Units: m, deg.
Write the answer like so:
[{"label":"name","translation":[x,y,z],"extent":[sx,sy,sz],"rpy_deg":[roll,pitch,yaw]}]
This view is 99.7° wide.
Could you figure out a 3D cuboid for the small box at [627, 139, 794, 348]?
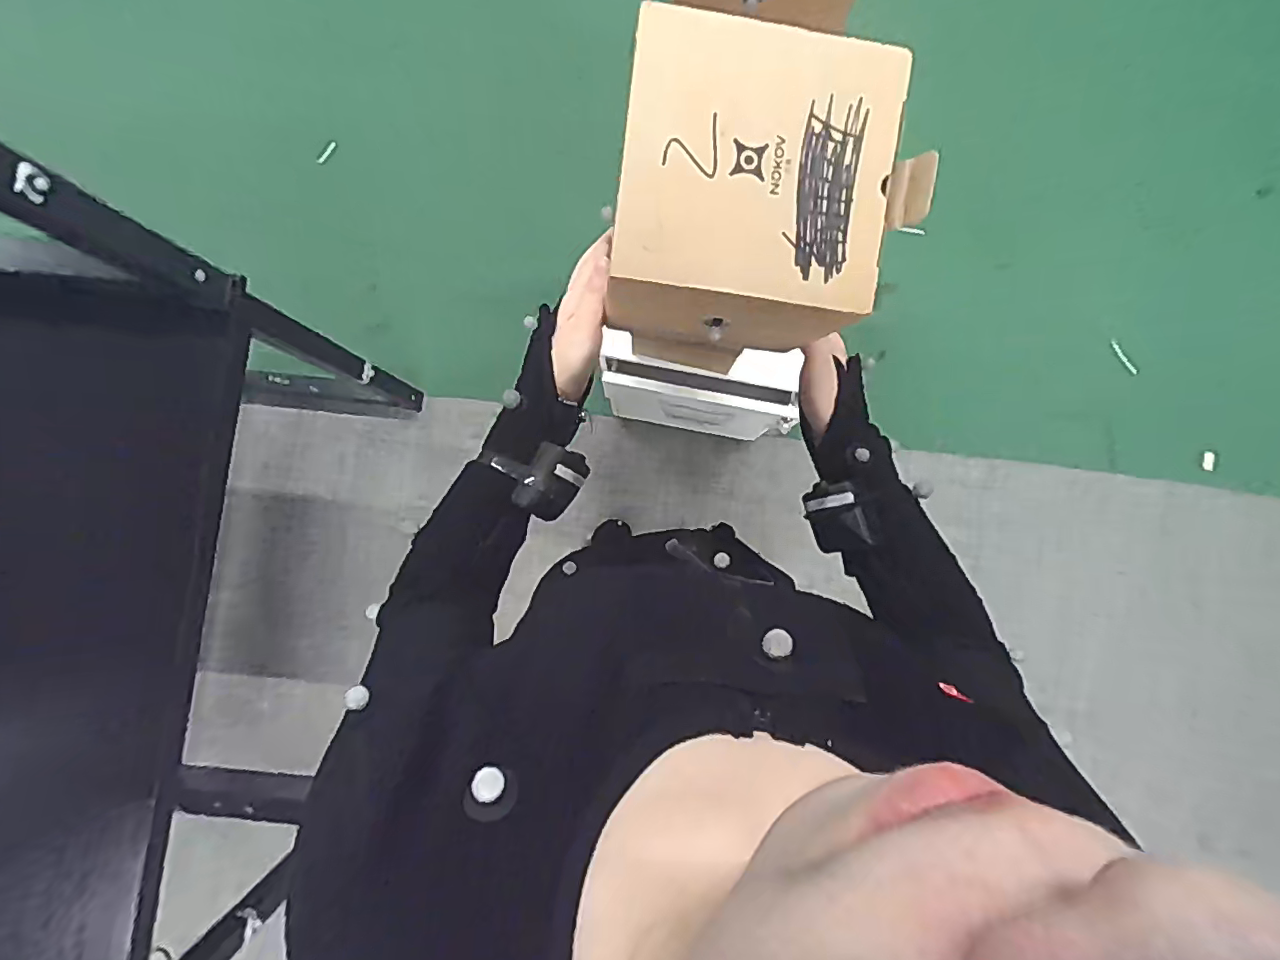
[{"label":"small box","translation":[0.081,-0.286,0.692],"extent":[0.168,0.176,0.179],"rpy_deg":[11,85,0]}]

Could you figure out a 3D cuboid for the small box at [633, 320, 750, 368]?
[{"label":"small box","translation":[0.089,-0.290,0.855],"extent":[0.179,0.176,0.168],"rpy_deg":[14,86,0]}]
